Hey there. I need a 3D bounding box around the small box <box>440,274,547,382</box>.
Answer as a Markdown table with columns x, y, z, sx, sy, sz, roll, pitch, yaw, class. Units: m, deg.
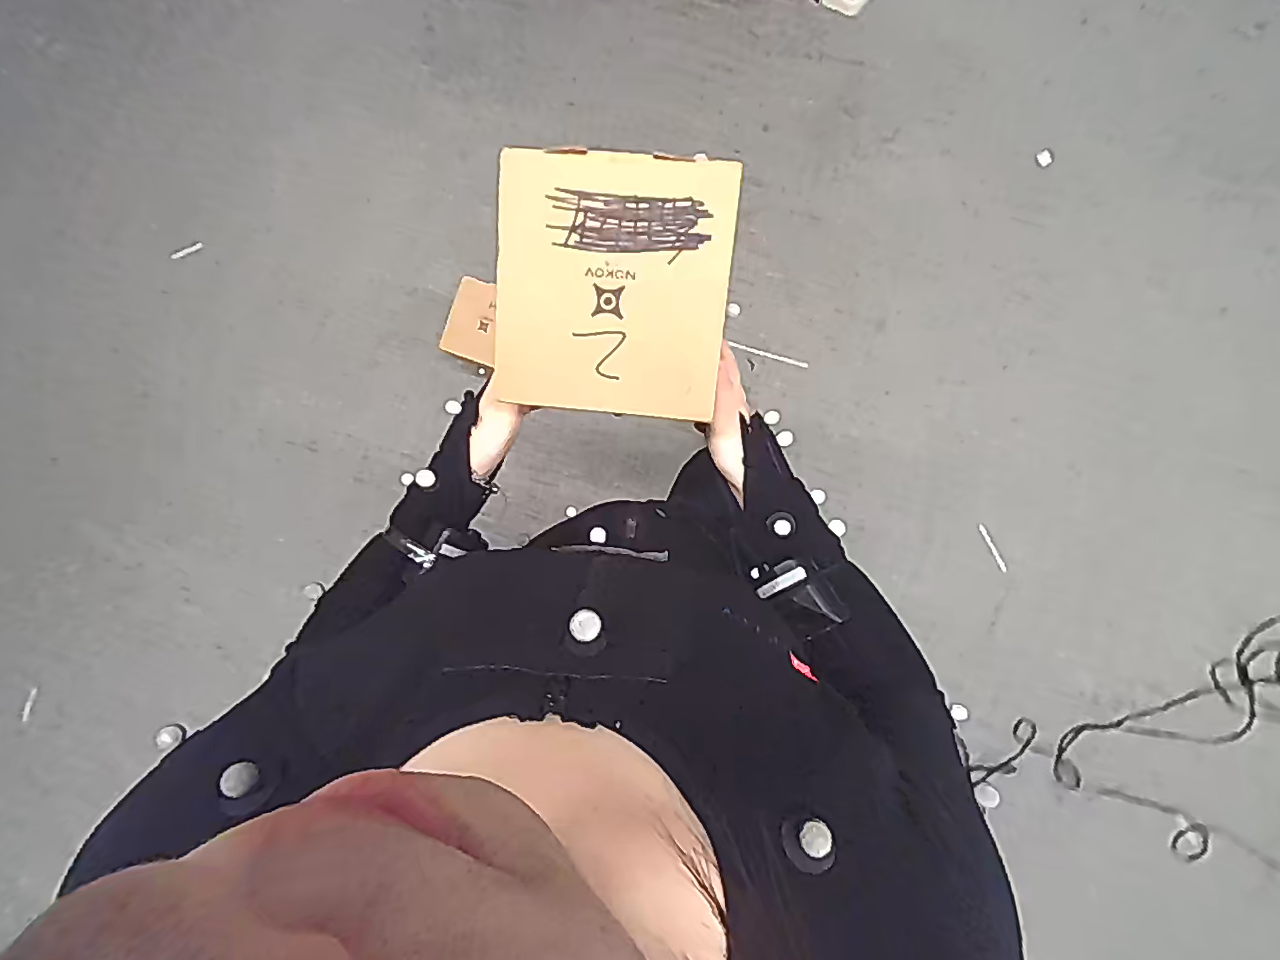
| x | y | z | sx | sy | sz | roll | pitch | yaw | class |
| --- | --- | --- | --- | --- | --- | --- | --- | --- | --- |
| -0.332 | -0.343 | 1.258 | 0.168 | 0.176 | 0.179 | 20 | 91 | 2 | small box |
